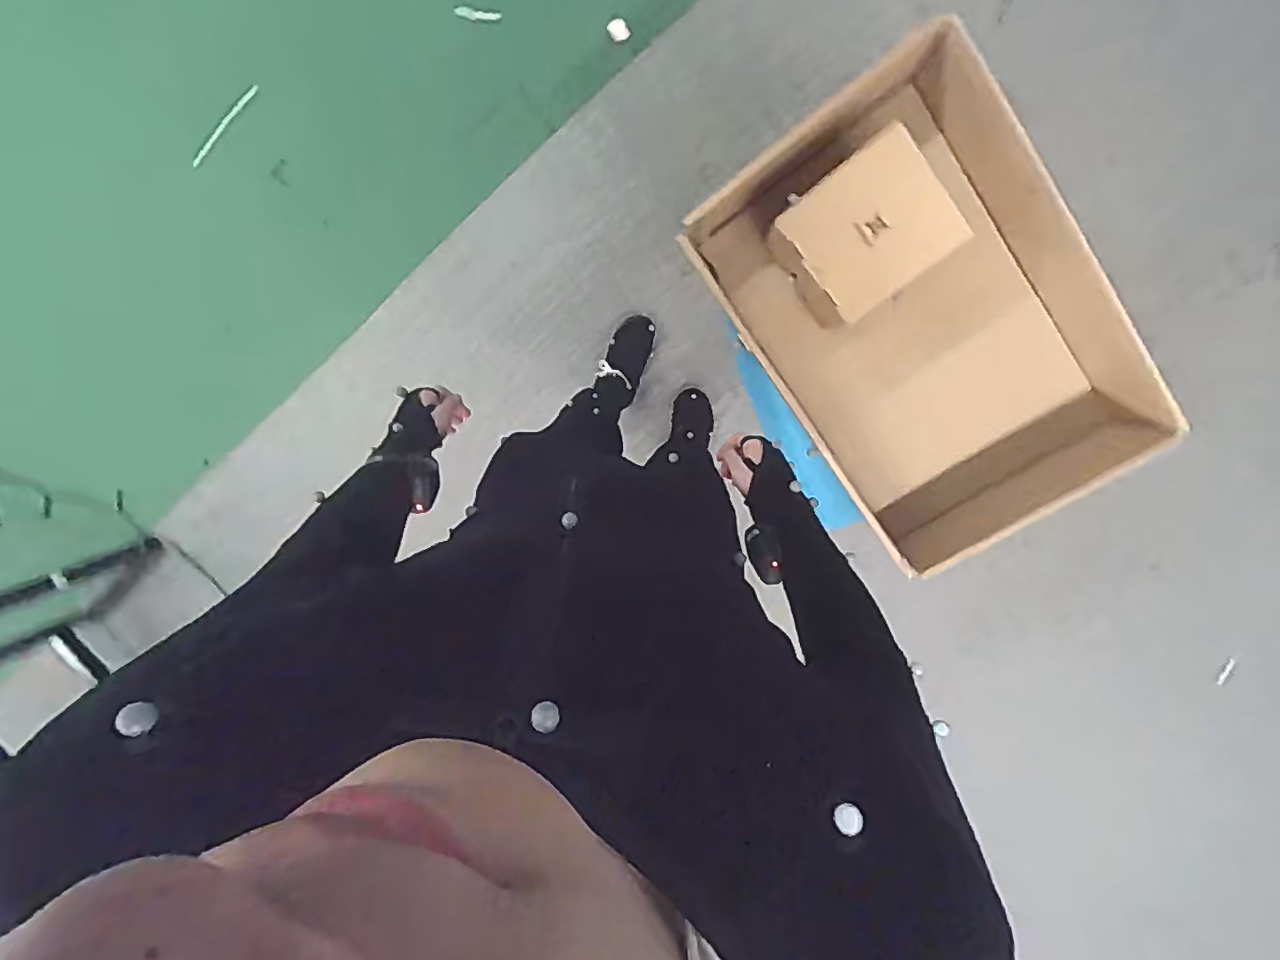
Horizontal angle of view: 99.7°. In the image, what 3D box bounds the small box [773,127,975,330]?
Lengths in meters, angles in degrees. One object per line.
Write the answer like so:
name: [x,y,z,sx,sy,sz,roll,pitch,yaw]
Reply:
small box: [0.302,-0.327,0.742,0.179,0.176,0.168,-36,98,16]
